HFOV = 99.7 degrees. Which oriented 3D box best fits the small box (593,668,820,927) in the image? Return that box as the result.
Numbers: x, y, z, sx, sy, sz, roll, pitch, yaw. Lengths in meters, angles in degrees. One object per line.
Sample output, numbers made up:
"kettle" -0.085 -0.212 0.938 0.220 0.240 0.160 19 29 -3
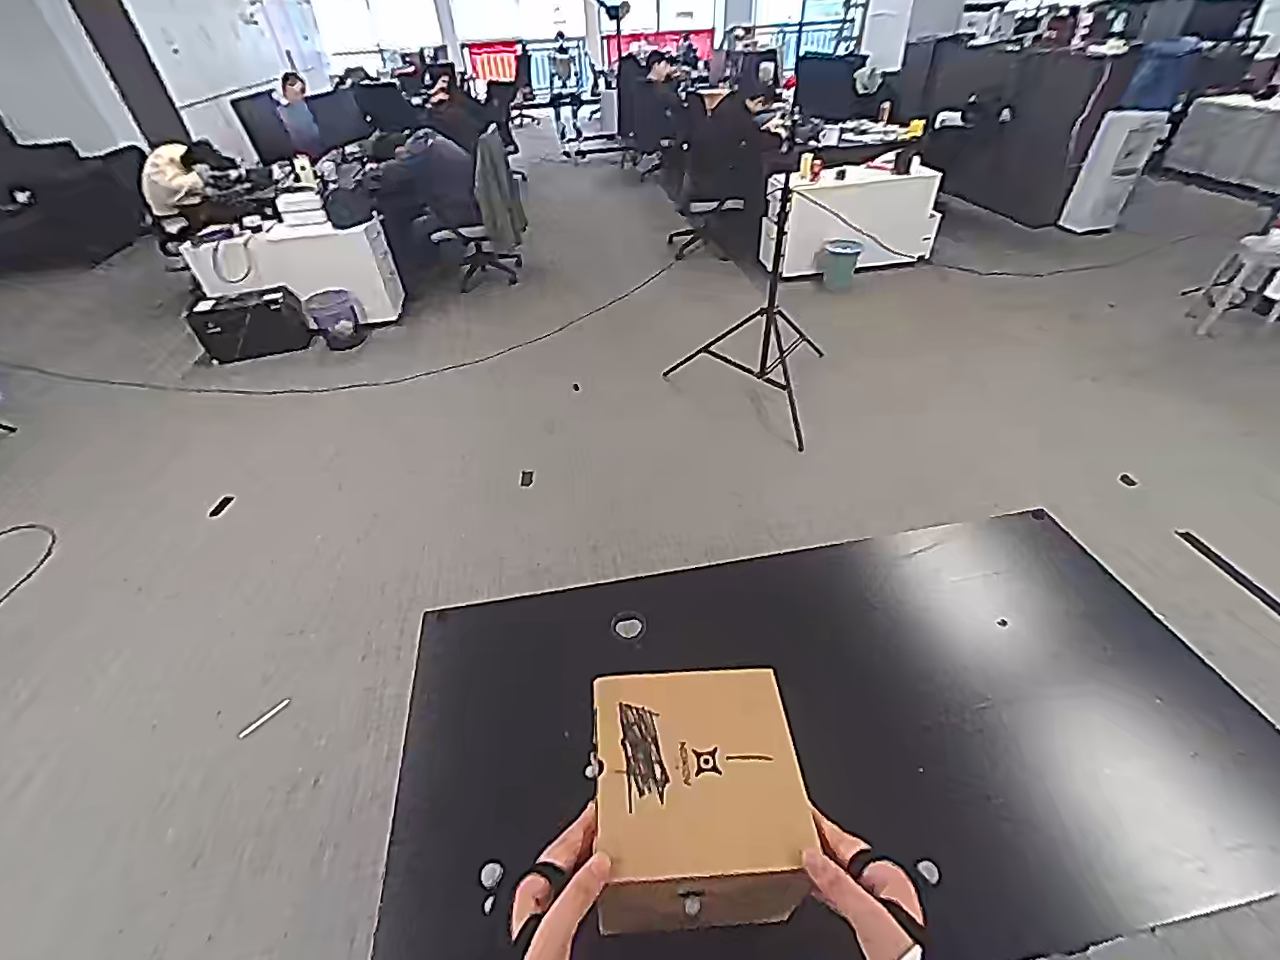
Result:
"small box" 0.047 0.301 0.516 0.179 0.176 0.168 -1 40 -4
